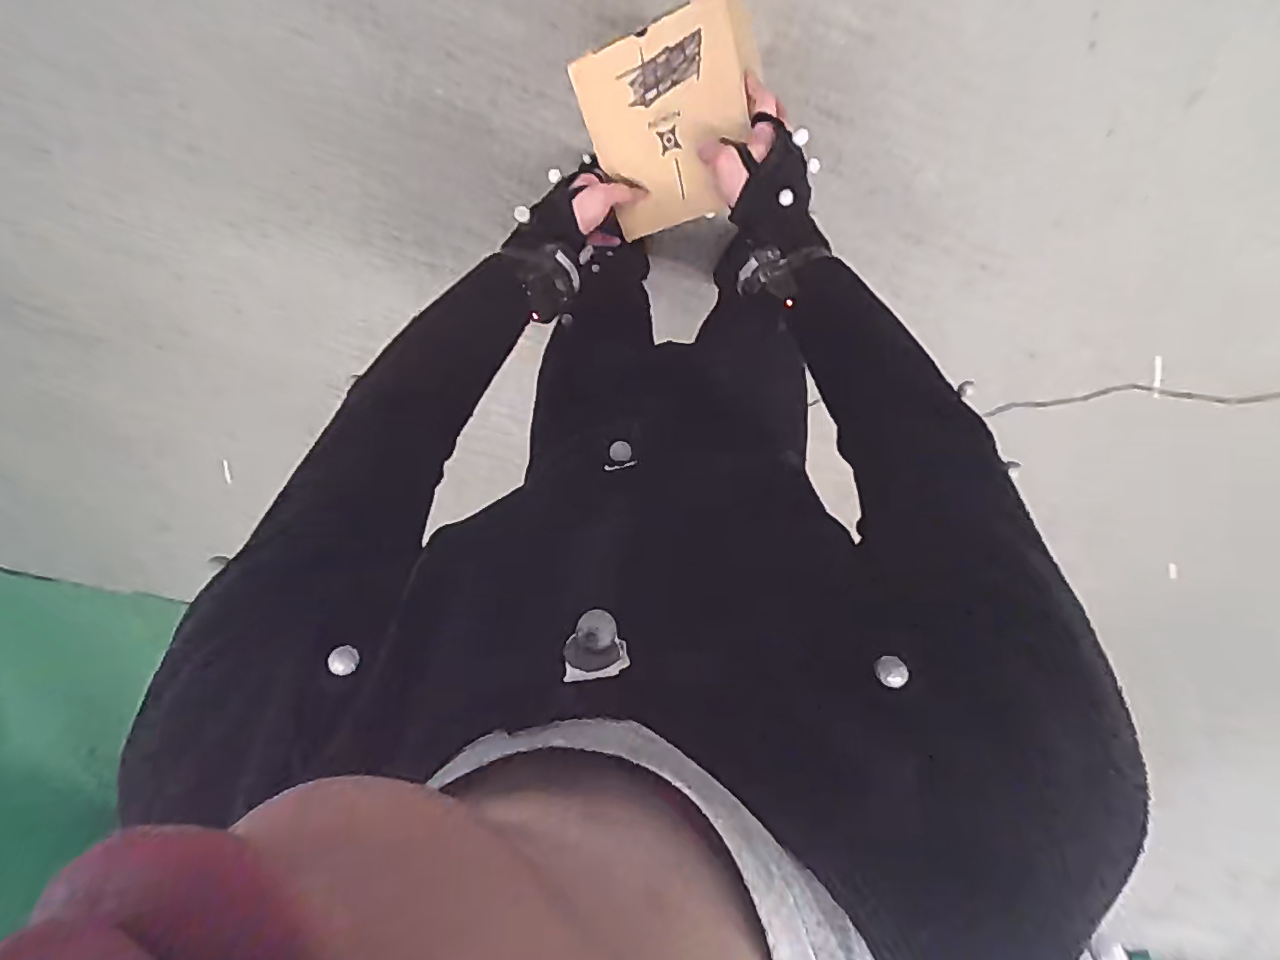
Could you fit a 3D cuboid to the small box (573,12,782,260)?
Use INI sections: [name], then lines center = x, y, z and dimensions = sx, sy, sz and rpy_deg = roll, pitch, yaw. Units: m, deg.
[small box]
center = 0.056, -0.377, 0.610
dimensions = 0.168, 0.176, 0.179
rpy_deg = -7, 122, 27
